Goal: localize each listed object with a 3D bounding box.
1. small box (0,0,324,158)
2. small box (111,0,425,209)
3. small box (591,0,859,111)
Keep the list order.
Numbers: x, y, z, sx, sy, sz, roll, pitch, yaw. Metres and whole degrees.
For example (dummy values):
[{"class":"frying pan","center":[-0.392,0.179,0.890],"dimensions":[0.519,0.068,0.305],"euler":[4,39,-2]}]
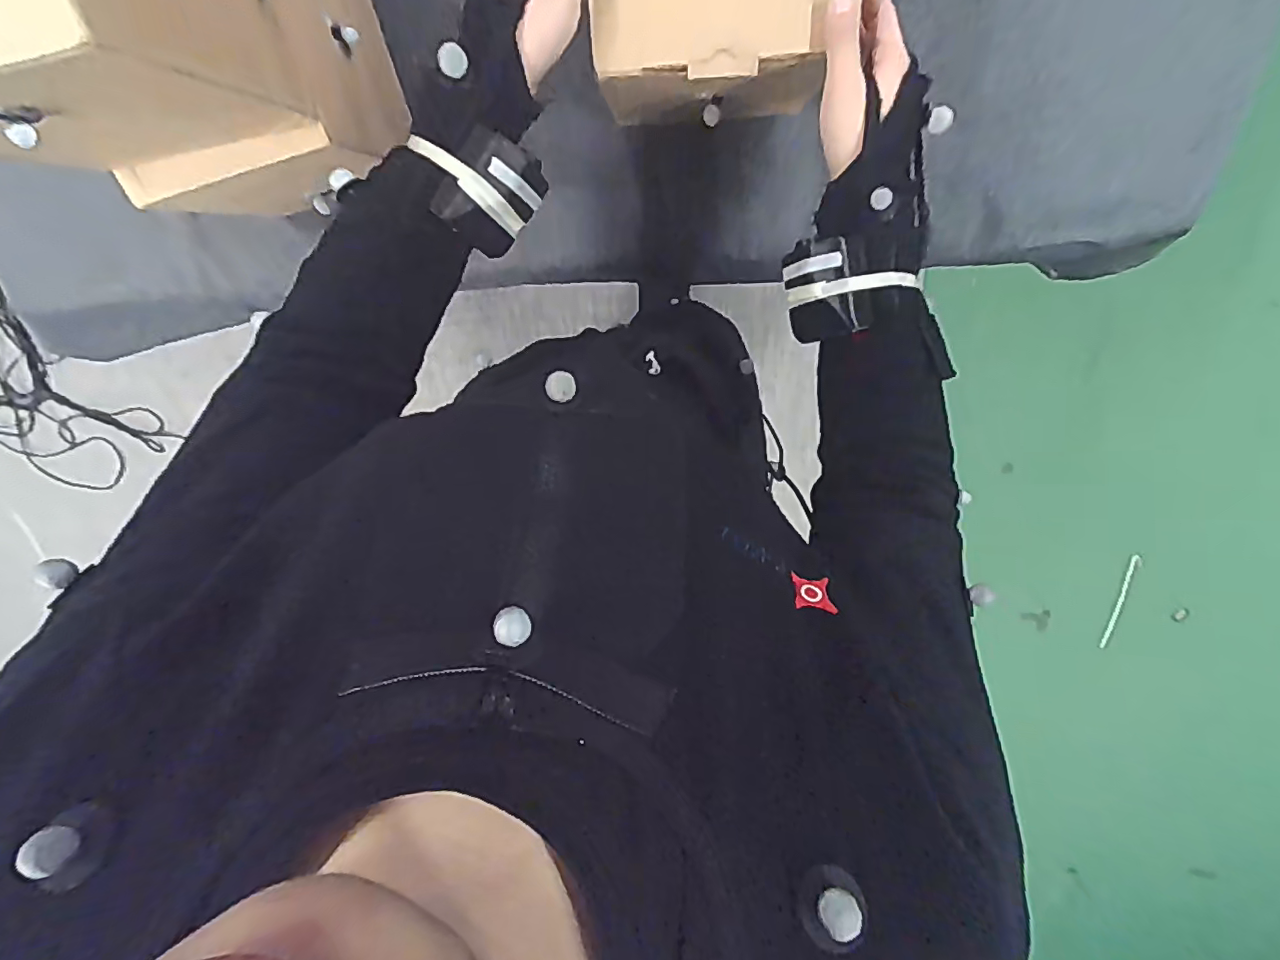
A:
[{"class":"small box","center":[-0.306,-0.273,0.266],"dimensions":[0.179,0.176,0.168],"euler":[-8,115,6]},{"class":"small box","center":[-0.301,-0.326,0.420],"dimensions":[0.168,0.176,0.179],"euler":[-11,114,8]},{"class":"small box","center":[0.054,-0.376,0.378],"dimensions":[0.168,0.176,0.179],"euler":[-2,115,5]}]
